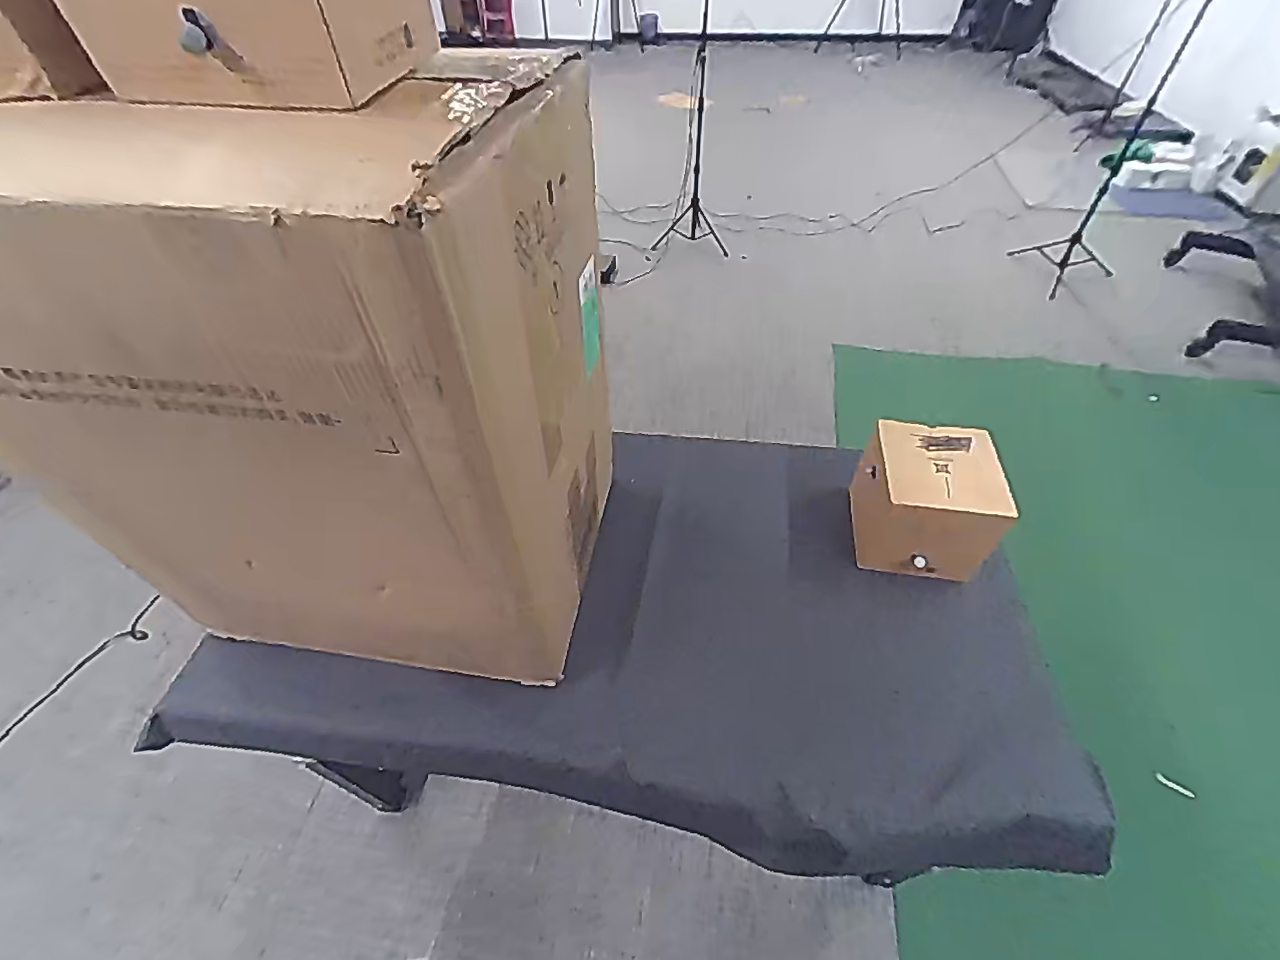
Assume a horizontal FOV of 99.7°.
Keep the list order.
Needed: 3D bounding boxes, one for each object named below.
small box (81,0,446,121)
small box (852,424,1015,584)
[{"bbox_3d":[-0.254,-0.363,0.364,0.179,0.176,0.168,5,49,4],"label":"small box"},{"bbox_3d":[0.445,0.038,0.856,0.168,0.176,0.179,7,49,8],"label":"small box"}]
